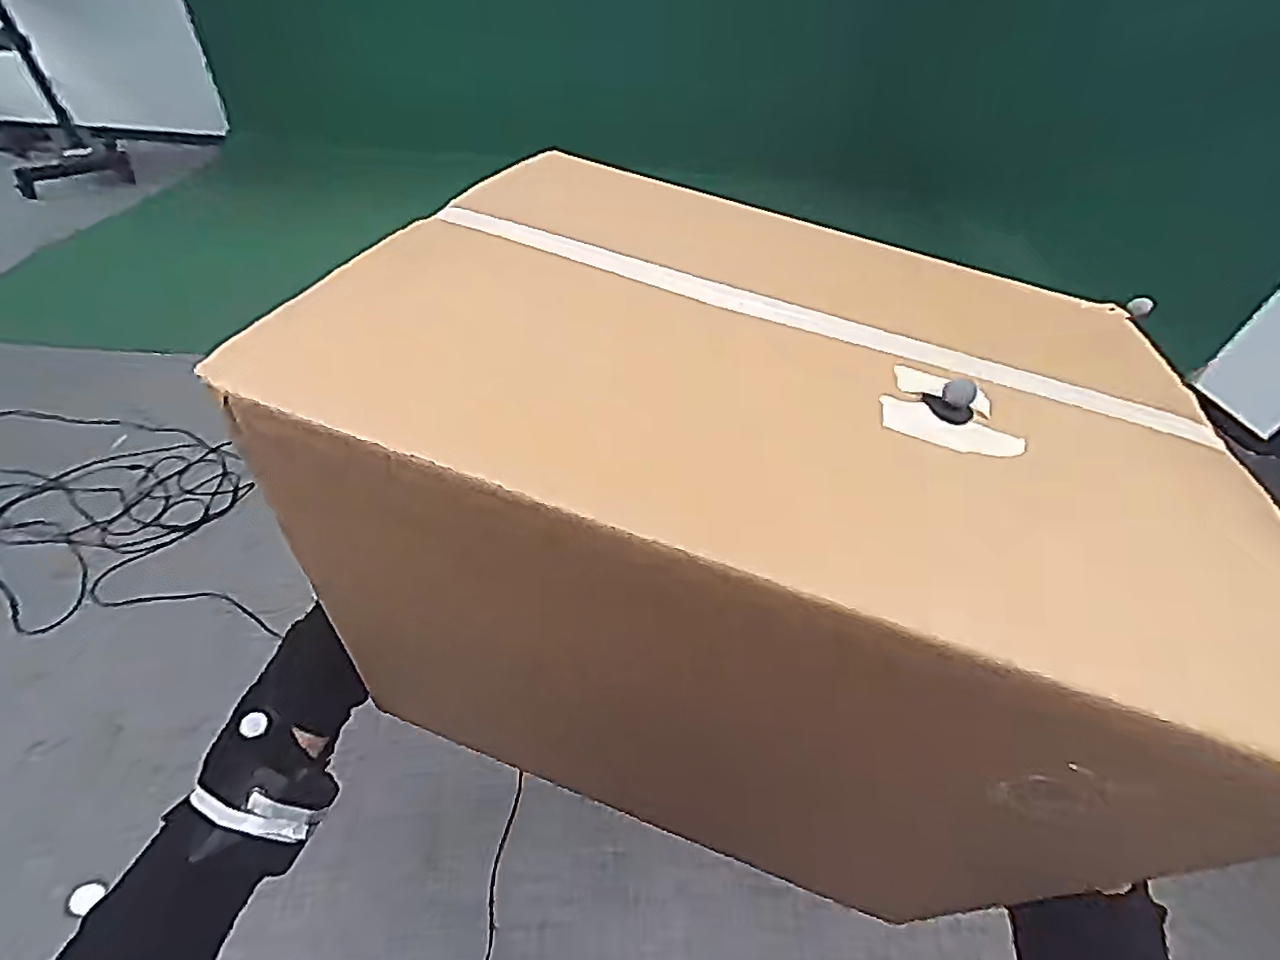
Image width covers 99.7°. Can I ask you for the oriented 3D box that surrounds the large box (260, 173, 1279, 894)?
[{"bbox_3d":[0.059,0.030,0.394,0.408,0.320,0.320,19,47,5],"label":"large box"}]
